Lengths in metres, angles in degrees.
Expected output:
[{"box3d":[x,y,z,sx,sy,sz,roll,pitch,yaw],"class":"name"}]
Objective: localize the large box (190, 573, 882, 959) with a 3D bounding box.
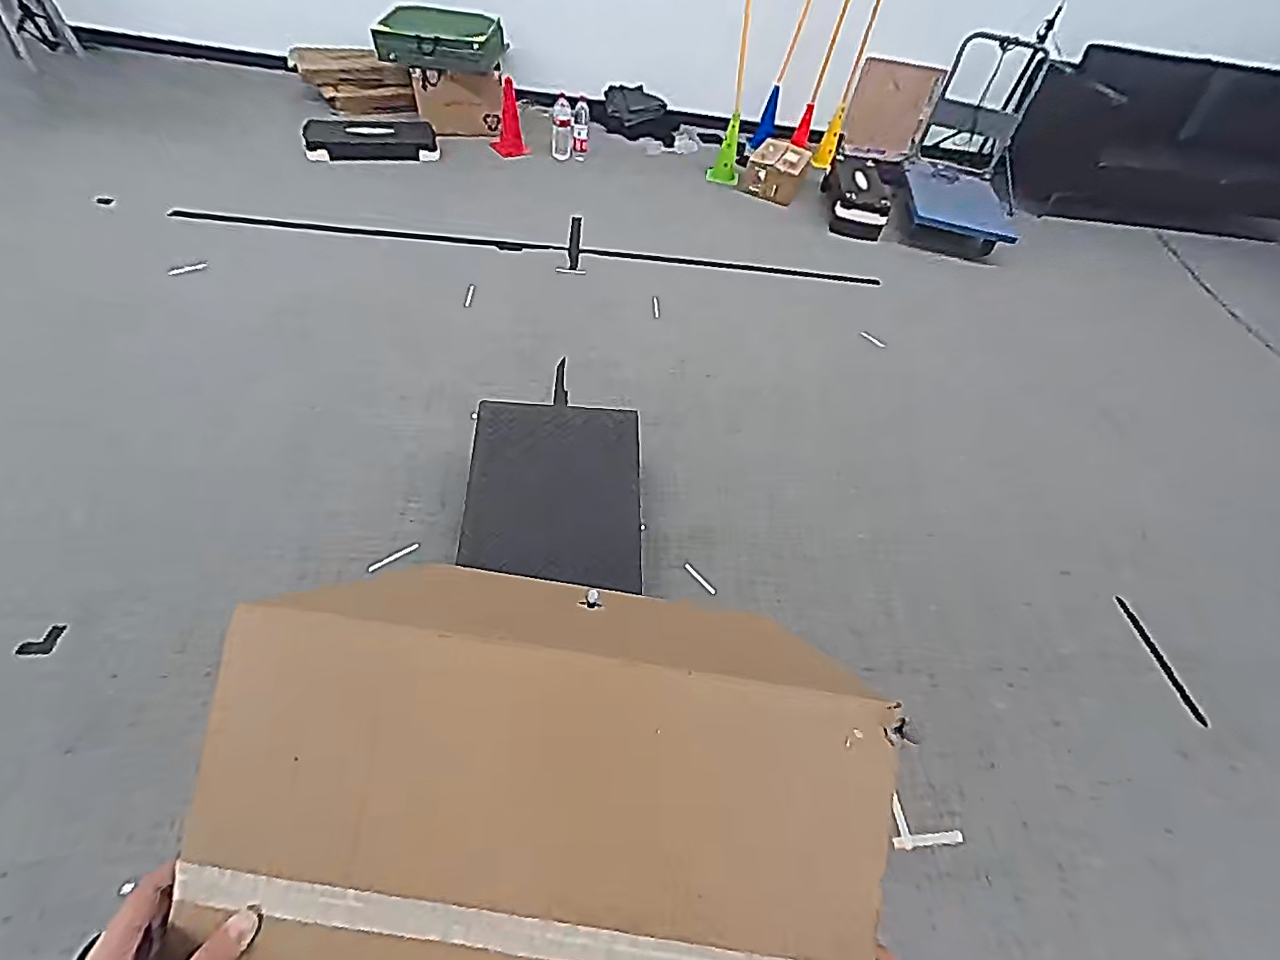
[{"box3d":[-0.067,0.269,0.475,0.408,0.320,0.320,8,87,0],"class":"large box"}]
